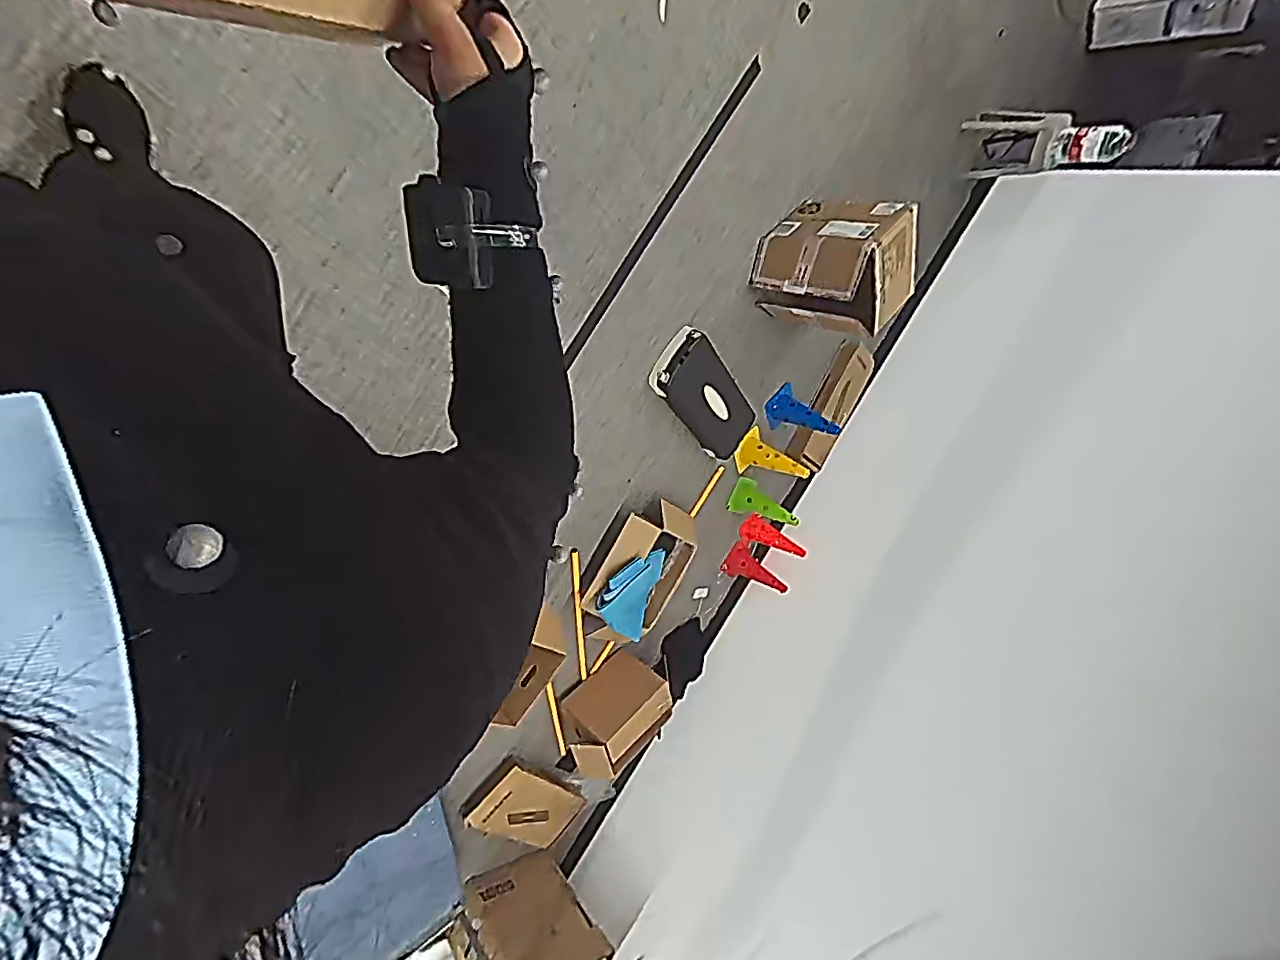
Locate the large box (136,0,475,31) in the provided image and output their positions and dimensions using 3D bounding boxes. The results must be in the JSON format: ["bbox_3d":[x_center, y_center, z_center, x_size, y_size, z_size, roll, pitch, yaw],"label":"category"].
[{"bbox_3d":[-0.341,-0.454,0.275,0.408,0.320,0.320,-17,130,-31],"label":"large box"}]
